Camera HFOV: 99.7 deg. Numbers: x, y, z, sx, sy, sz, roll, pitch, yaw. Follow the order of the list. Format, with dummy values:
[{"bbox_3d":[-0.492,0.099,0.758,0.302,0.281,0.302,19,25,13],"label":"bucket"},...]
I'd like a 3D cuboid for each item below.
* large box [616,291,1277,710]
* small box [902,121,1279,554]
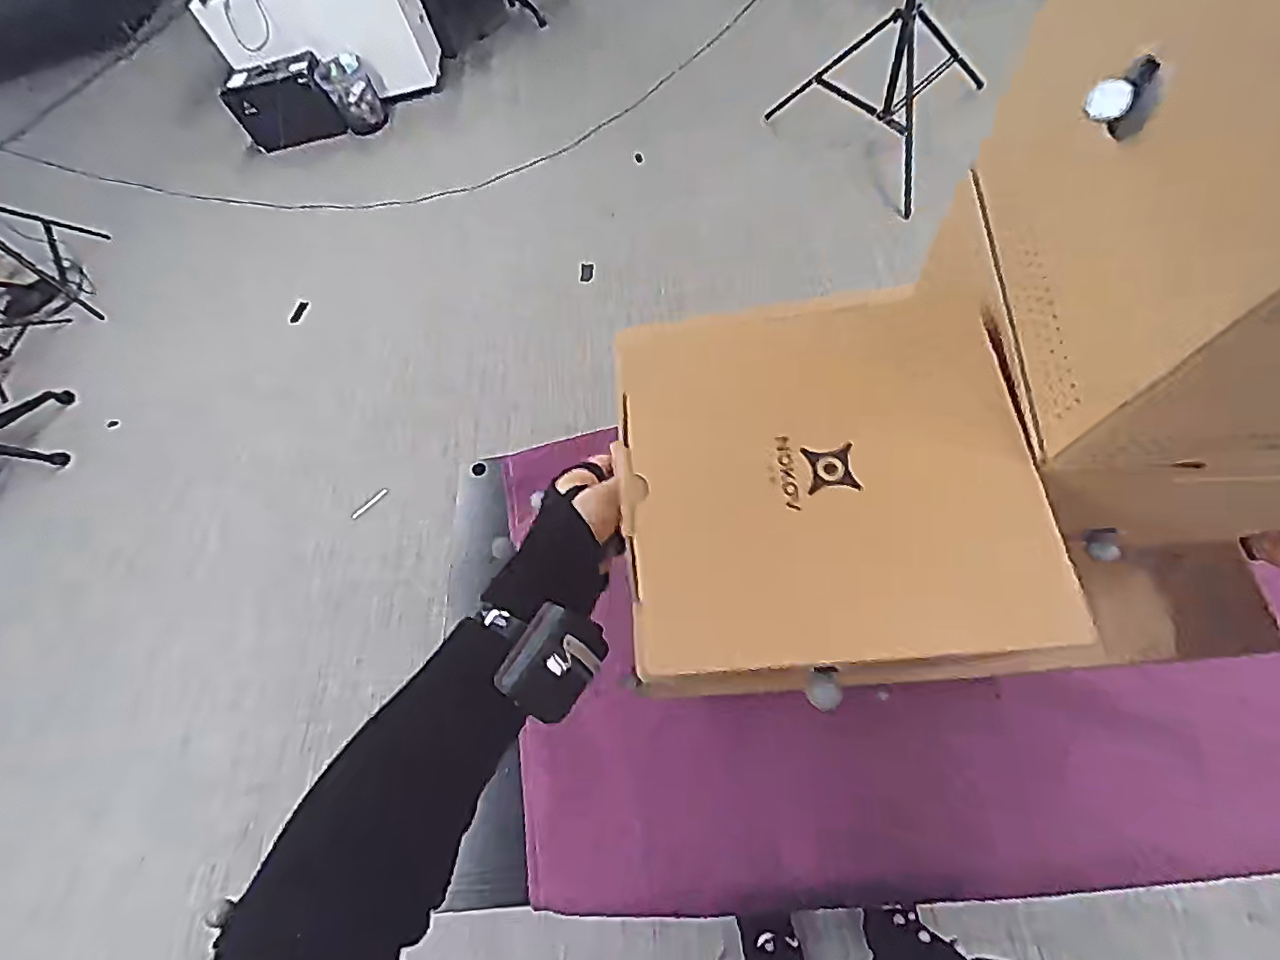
[{"bbox_3d":[0.213,0.045,0.547,0.408,0.320,0.320,-8,66,8],"label":"large box"},{"bbox_3d":[0.267,-0.063,0.312,0.168,0.176,0.179,-2,69,10],"label":"small box"}]
